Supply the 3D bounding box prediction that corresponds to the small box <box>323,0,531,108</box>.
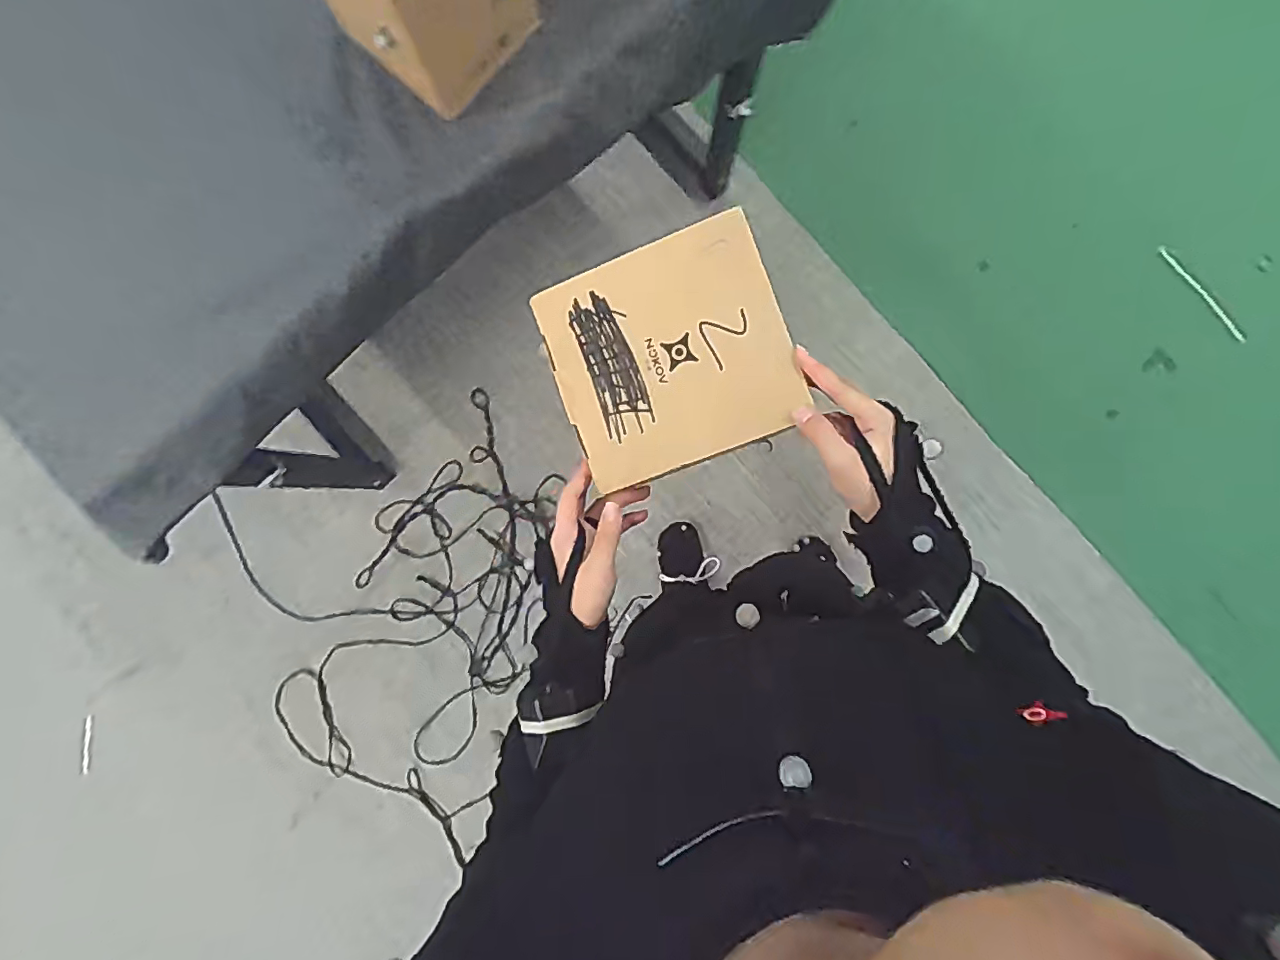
[{"bbox_3d":[-0.240,-0.545,0.572,0.179,0.176,0.168,40,87,2],"label":"small box"}]
